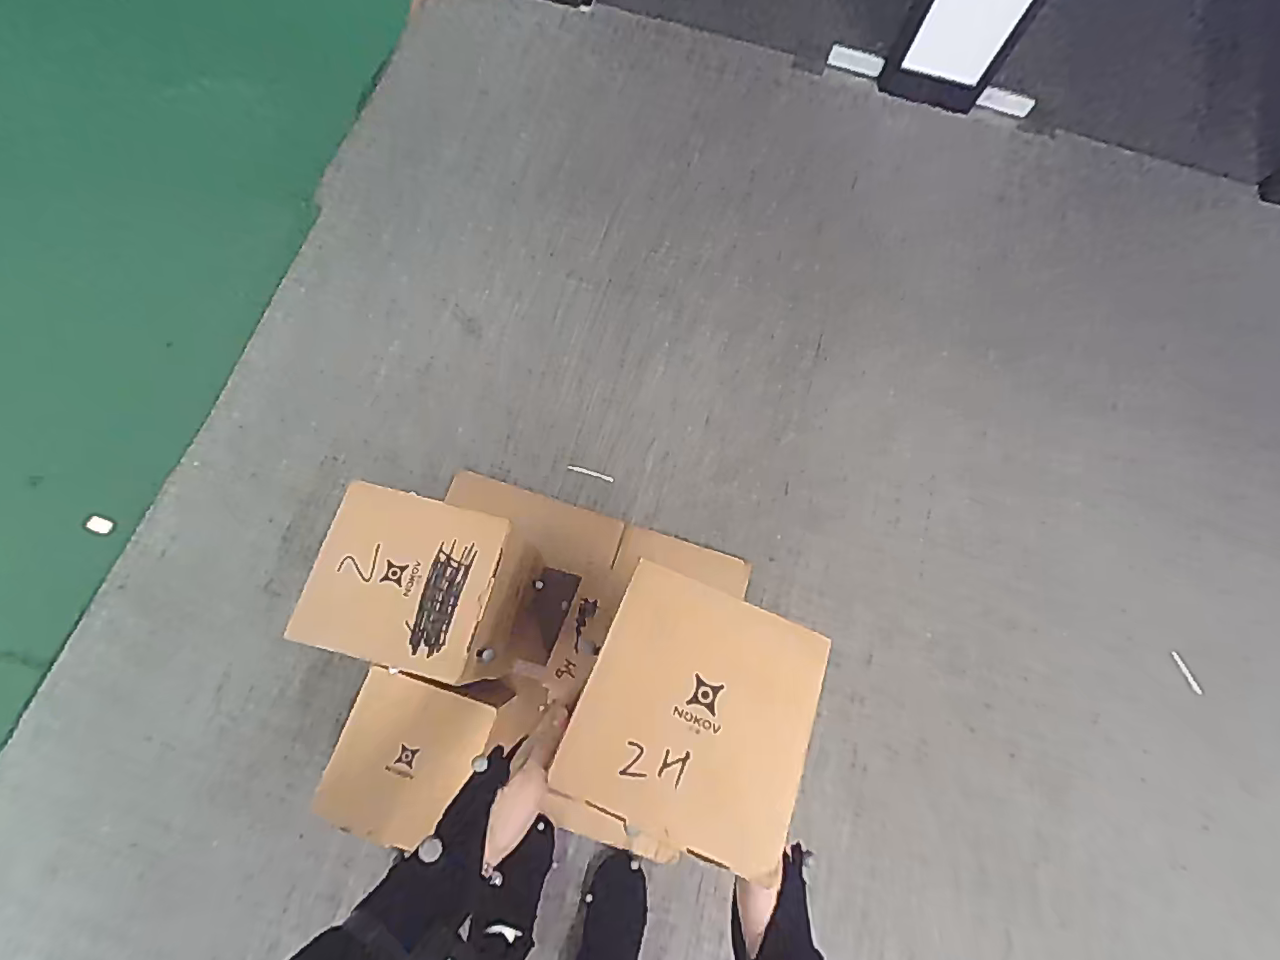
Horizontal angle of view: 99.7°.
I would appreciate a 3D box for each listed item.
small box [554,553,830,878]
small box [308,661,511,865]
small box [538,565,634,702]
[{"bbox_3d":[0.036,0.194,0.468,0.168,0.176,0.179,23,64,4],"label":"small box"},{"bbox_3d":[-0.279,0.349,0.706,0.168,0.176,0.179,19,74,1],"label":"small box"},{"bbox_3d":[-0.020,0.234,0.758,0.179,0.176,0.168,21,73,4],"label":"small box"}]
